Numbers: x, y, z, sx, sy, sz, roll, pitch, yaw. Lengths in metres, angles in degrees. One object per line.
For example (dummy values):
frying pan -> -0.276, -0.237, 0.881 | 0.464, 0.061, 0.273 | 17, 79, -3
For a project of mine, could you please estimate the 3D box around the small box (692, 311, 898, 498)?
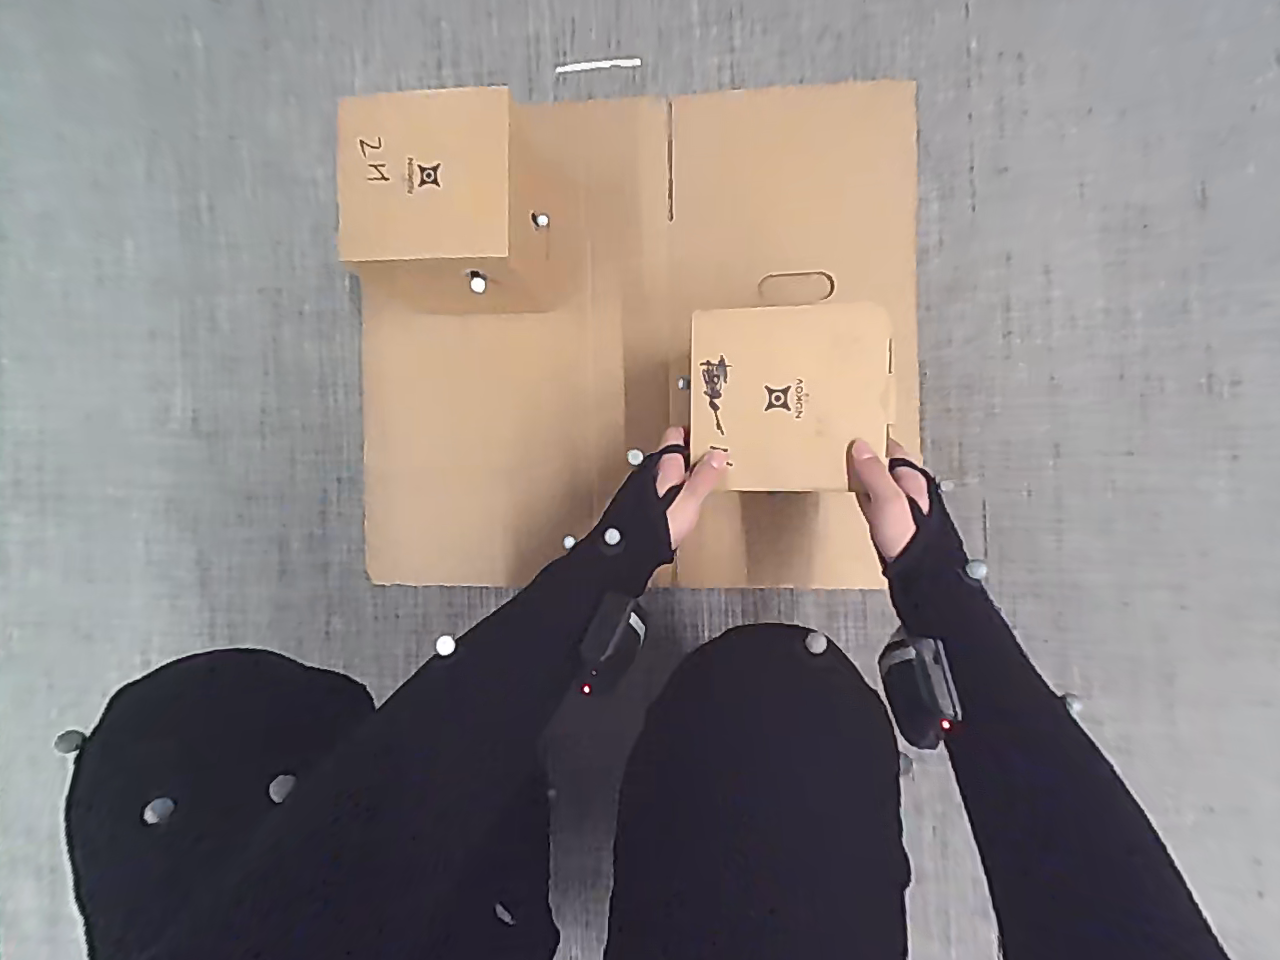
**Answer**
small box -> 0.146, -0.071, 0.560 | 0.179, 0.176, 0.168 | 1, 91, 9

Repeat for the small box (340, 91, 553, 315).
small box -> -0.198, -0.289, 0.600 | 0.179, 0.176, 0.168 | 1, 90, 6
